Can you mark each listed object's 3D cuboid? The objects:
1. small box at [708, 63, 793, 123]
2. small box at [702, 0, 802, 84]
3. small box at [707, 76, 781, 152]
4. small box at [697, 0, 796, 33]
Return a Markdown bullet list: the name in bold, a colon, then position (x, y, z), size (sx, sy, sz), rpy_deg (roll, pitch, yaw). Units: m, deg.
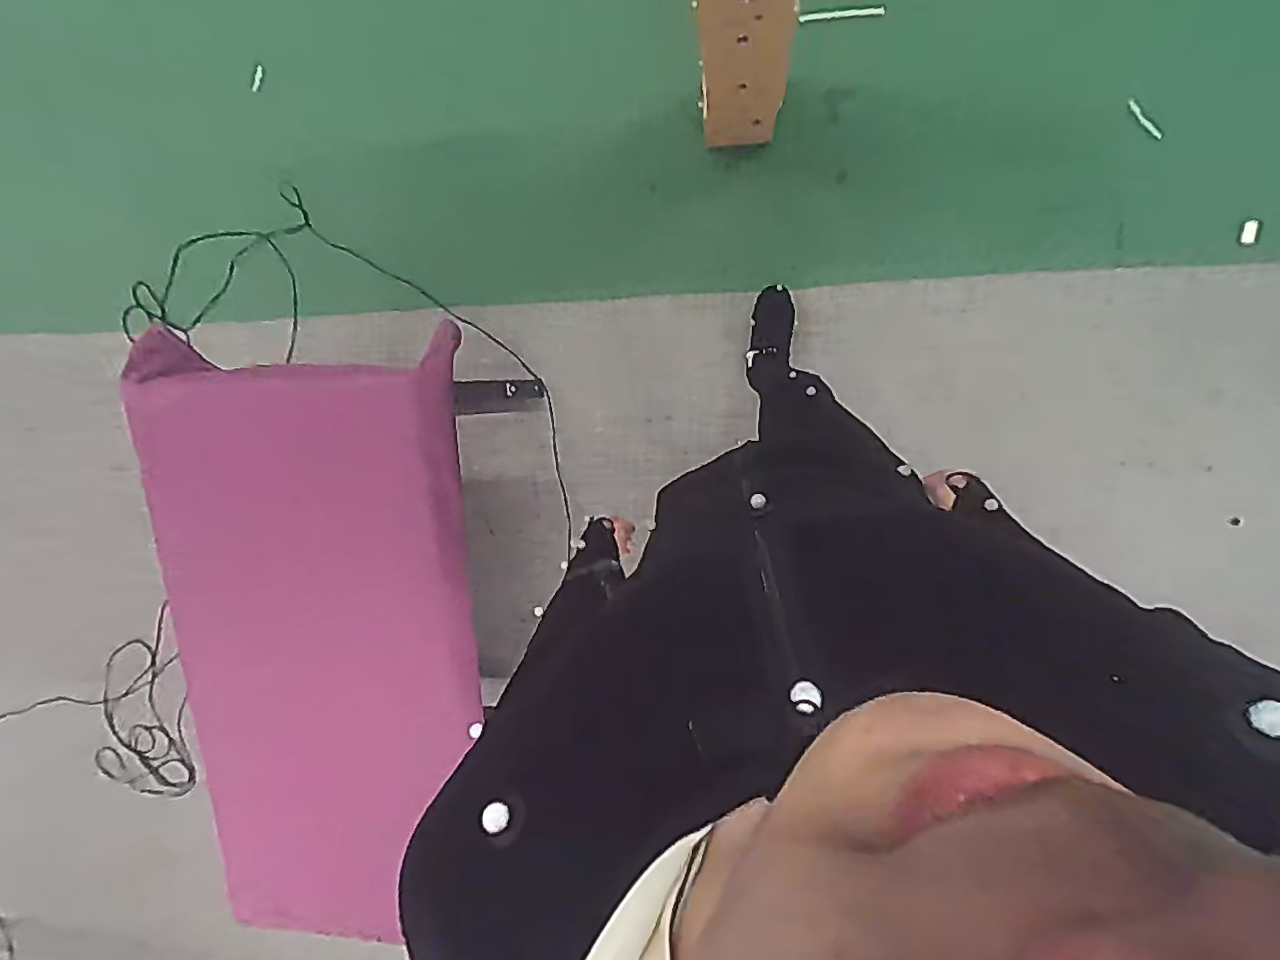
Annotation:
- **small box**: position (0.237, -0.923, 1.193), size (0.179, 0.176, 0.168), rpy_deg (-3, 99, 11)
- **small box**: position (0.207, -0.898, 1.033), size (0.179, 0.176, 0.168), rpy_deg (-5, 99, 10)
- **small box**: position (0.257, -0.947, 1.352), size (0.179, 0.176, 0.168), rpy_deg (0, 99, 10)
- **small box**: position (0.173, -0.872, 0.876), size (0.168, 0.176, 0.179), rpy_deg (-3, 100, 10)
